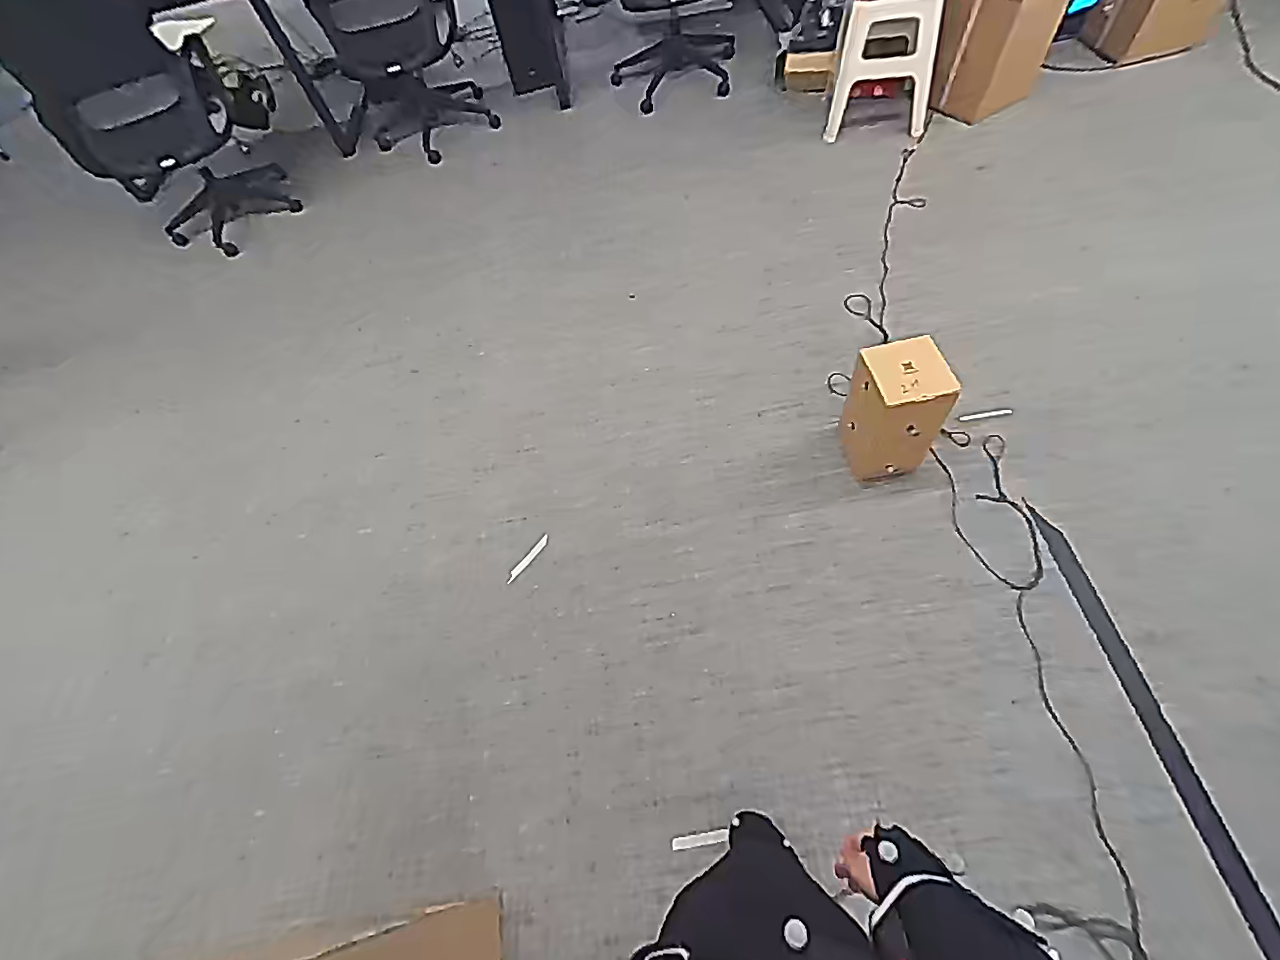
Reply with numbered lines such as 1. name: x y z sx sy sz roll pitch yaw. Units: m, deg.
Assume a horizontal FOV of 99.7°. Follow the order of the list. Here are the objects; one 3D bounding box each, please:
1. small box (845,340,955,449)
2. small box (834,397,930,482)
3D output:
1. small box: 0.607 -0.201 1.292 0.168 0.176 0.179 -12 59 3
2. small box: 0.630 -0.118 1.432 0.168 0.176 0.179 -10 59 4
